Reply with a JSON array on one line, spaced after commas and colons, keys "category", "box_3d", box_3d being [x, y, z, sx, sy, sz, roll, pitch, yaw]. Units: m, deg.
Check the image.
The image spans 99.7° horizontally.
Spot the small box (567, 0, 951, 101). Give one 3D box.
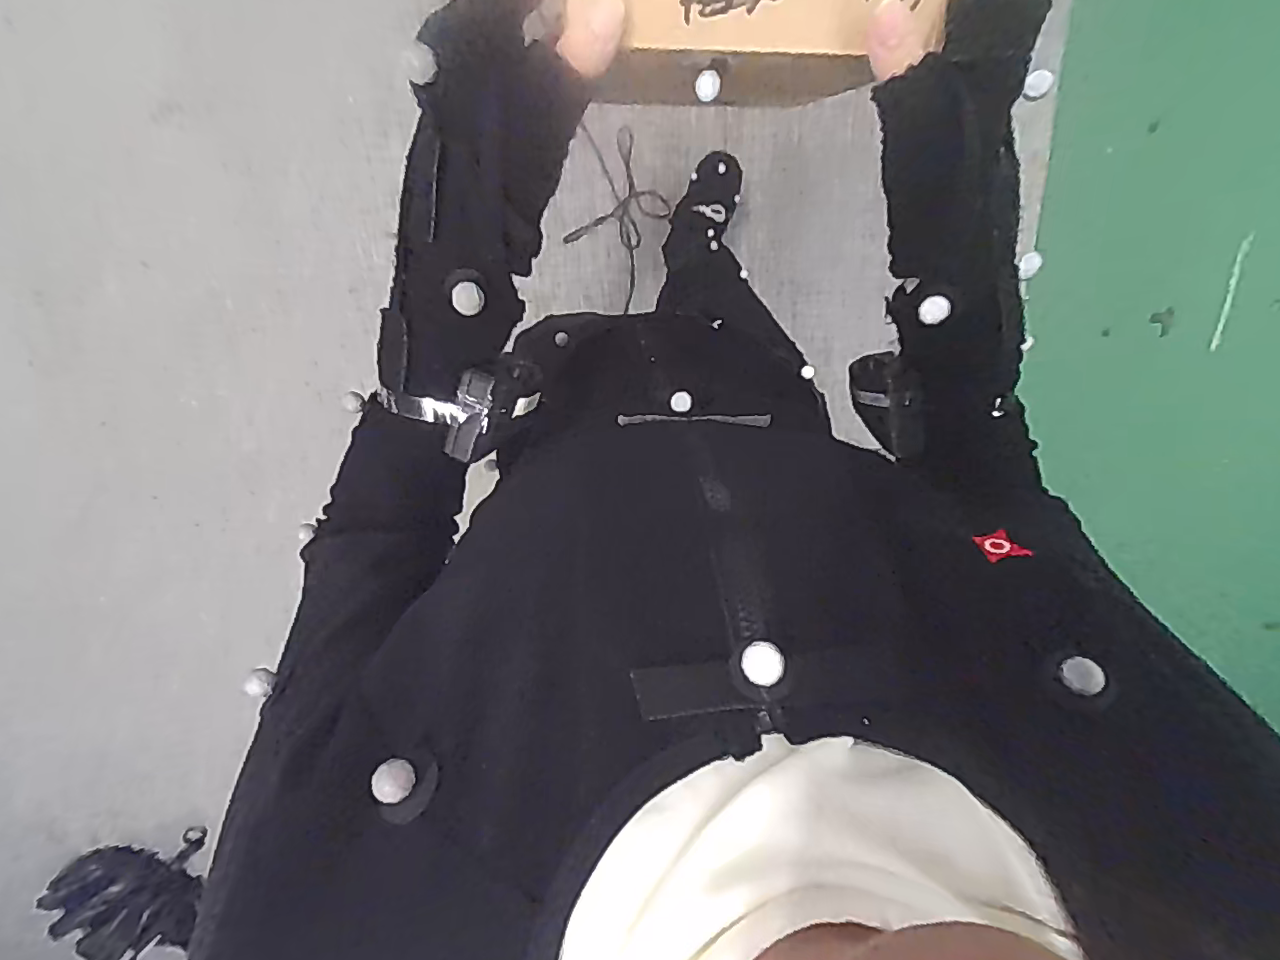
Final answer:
[{"category": "small box", "box_3d": [0.046, -0.306, 0.262, 0.168, 0.176, 0.179, -2, 118, -6]}]

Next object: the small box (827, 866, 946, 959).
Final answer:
[{"category": "small box", "box_3d": [0.520, 0.967, 1.163, 0.168, 0.176, 0.179, -6, 111, -6]}]
